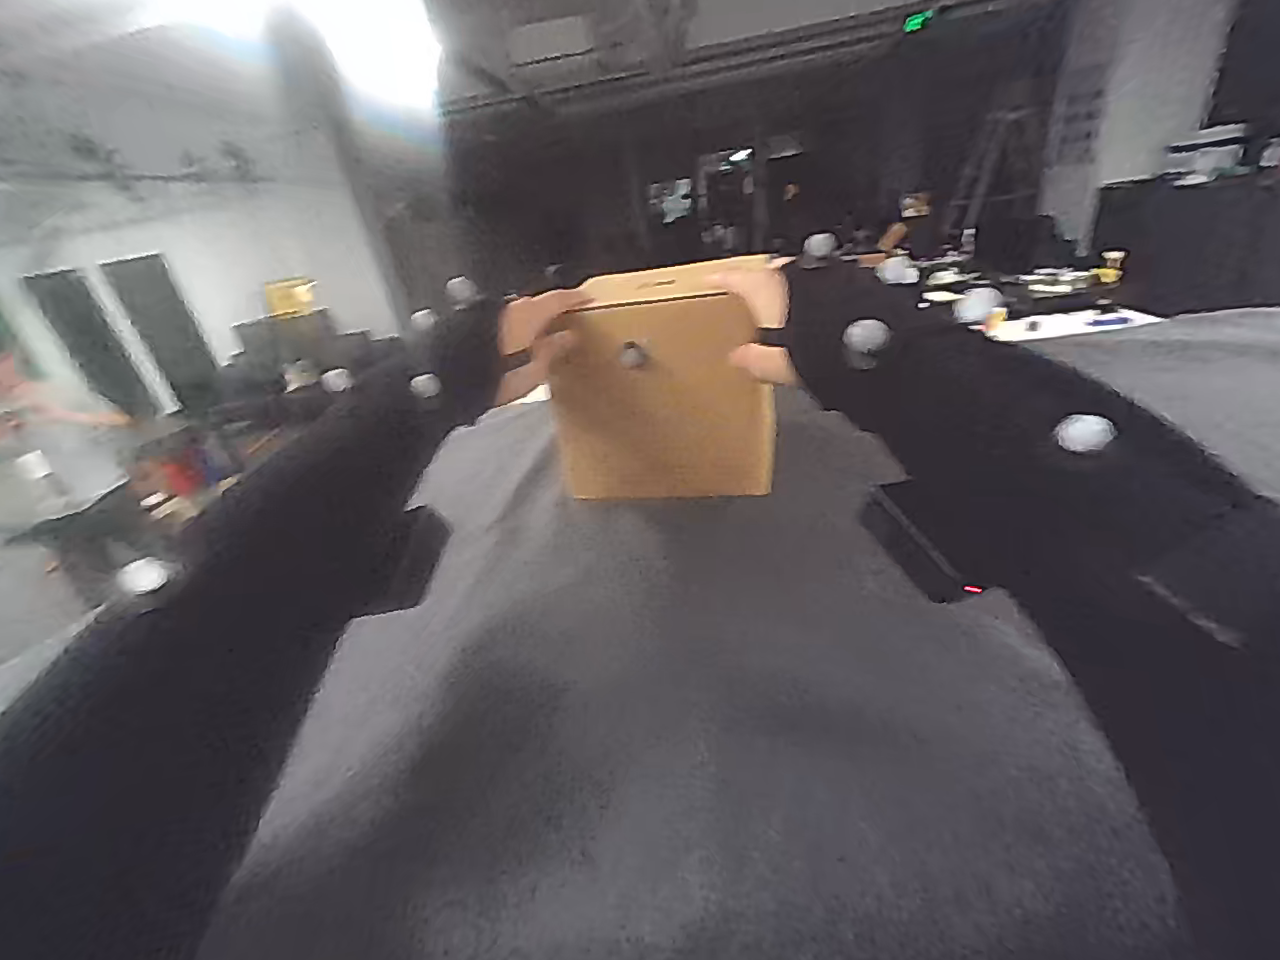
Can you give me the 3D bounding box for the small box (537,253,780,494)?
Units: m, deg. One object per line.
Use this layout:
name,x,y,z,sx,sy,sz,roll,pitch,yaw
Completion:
small box,0.035,-0.096,0.492,0.179,0.176,0.168,-1,29,17
